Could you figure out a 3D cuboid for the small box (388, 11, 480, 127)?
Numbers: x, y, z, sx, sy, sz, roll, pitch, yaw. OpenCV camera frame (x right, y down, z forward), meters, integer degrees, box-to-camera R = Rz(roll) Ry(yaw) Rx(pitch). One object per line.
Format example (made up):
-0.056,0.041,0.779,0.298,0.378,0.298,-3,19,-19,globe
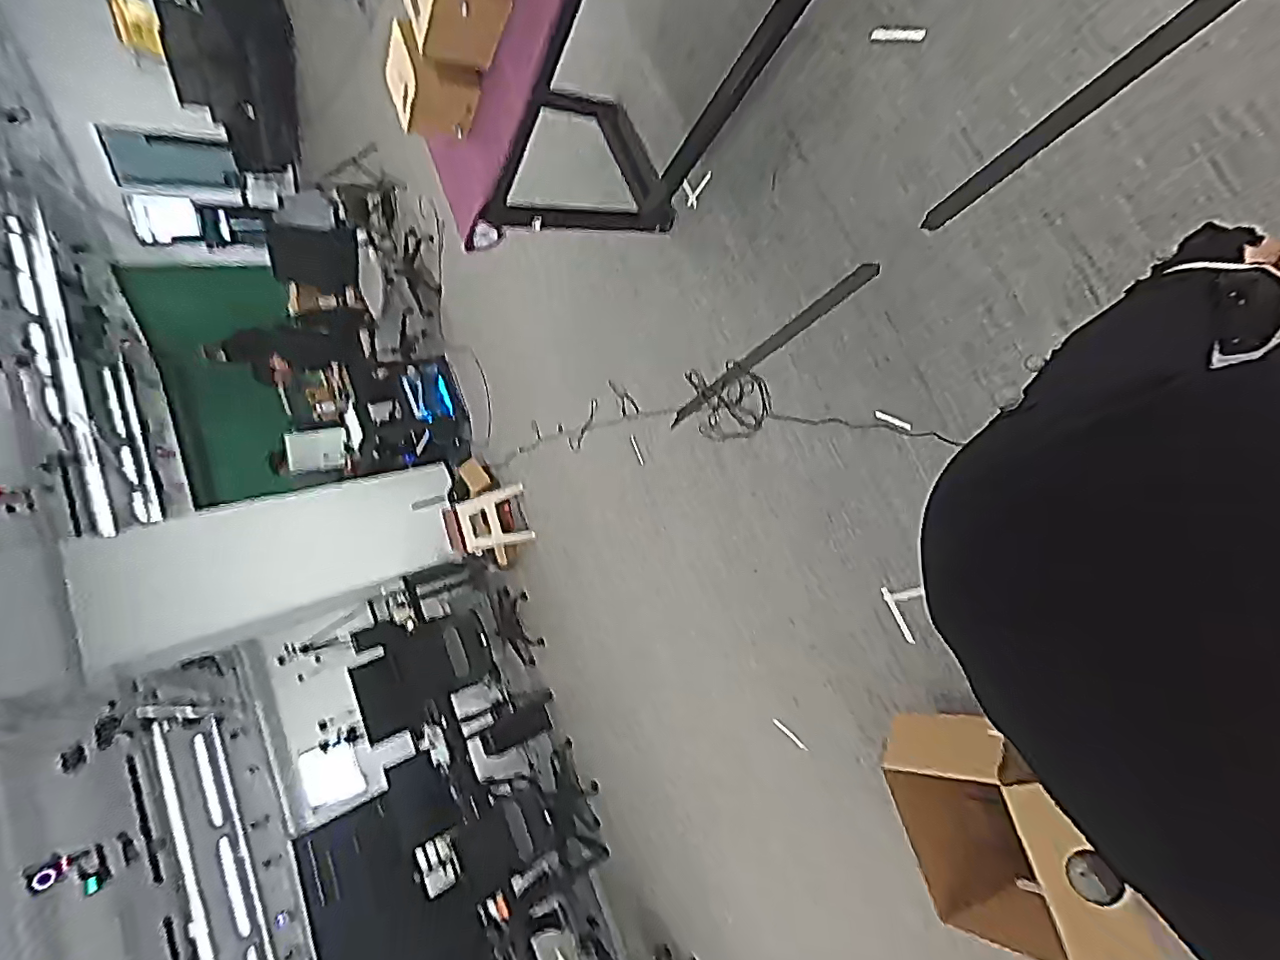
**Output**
-0.531,-1.048,1.398,0.168,0.176,0.179,-25,83,55,small box
